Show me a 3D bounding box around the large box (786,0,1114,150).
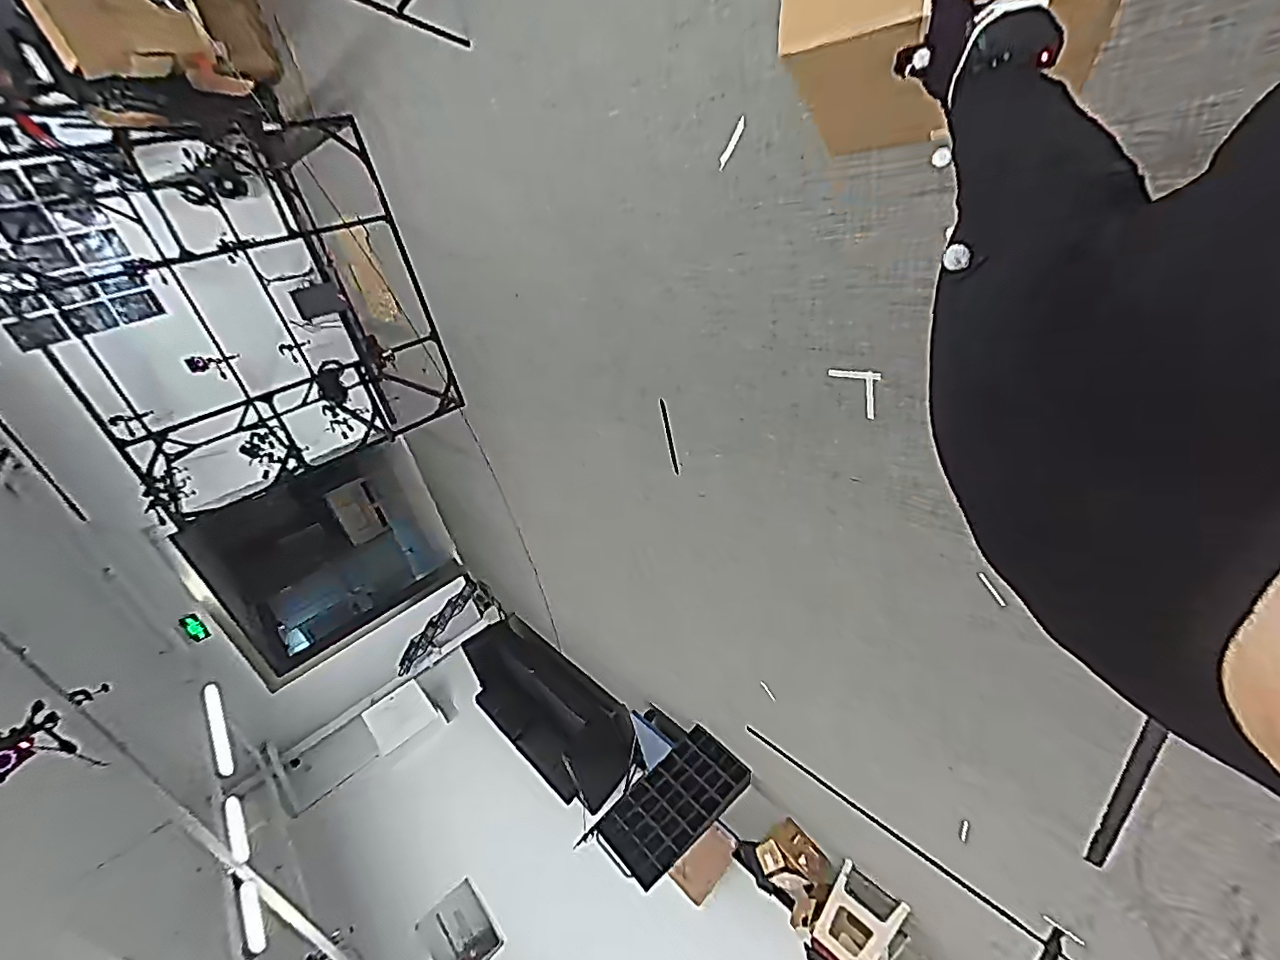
[{"bbox_3d":[0.369,-0.684,0.638,0.320,0.320,0.408,6,103,29],"label":"large box"}]
